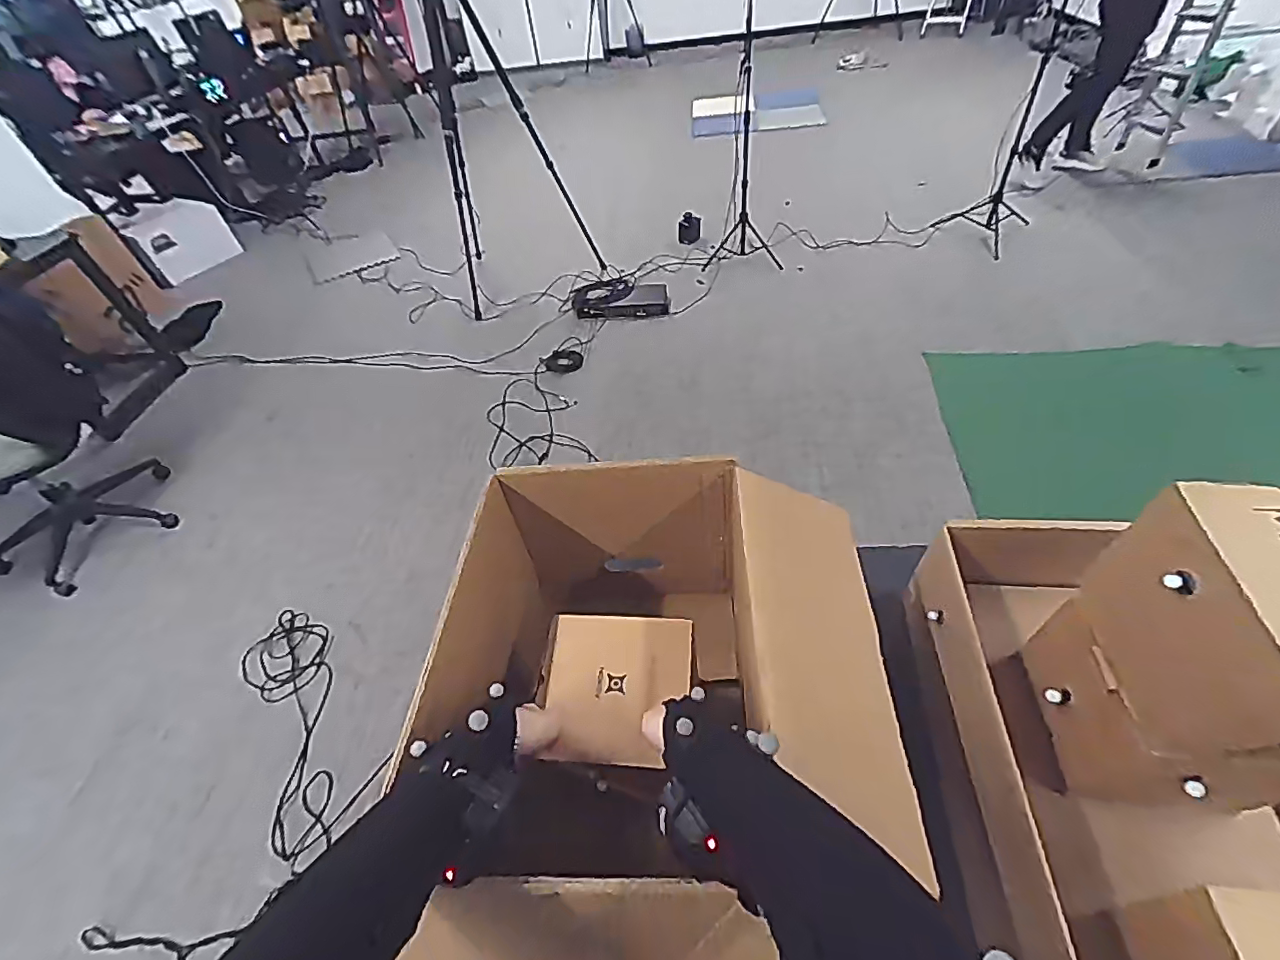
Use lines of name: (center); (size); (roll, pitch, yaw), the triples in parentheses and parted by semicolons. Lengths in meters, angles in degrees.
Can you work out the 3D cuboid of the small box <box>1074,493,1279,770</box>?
small box: (0.530, 0.132, 0.469); (0.168, 0.176, 0.179); (2, 51, 9)
